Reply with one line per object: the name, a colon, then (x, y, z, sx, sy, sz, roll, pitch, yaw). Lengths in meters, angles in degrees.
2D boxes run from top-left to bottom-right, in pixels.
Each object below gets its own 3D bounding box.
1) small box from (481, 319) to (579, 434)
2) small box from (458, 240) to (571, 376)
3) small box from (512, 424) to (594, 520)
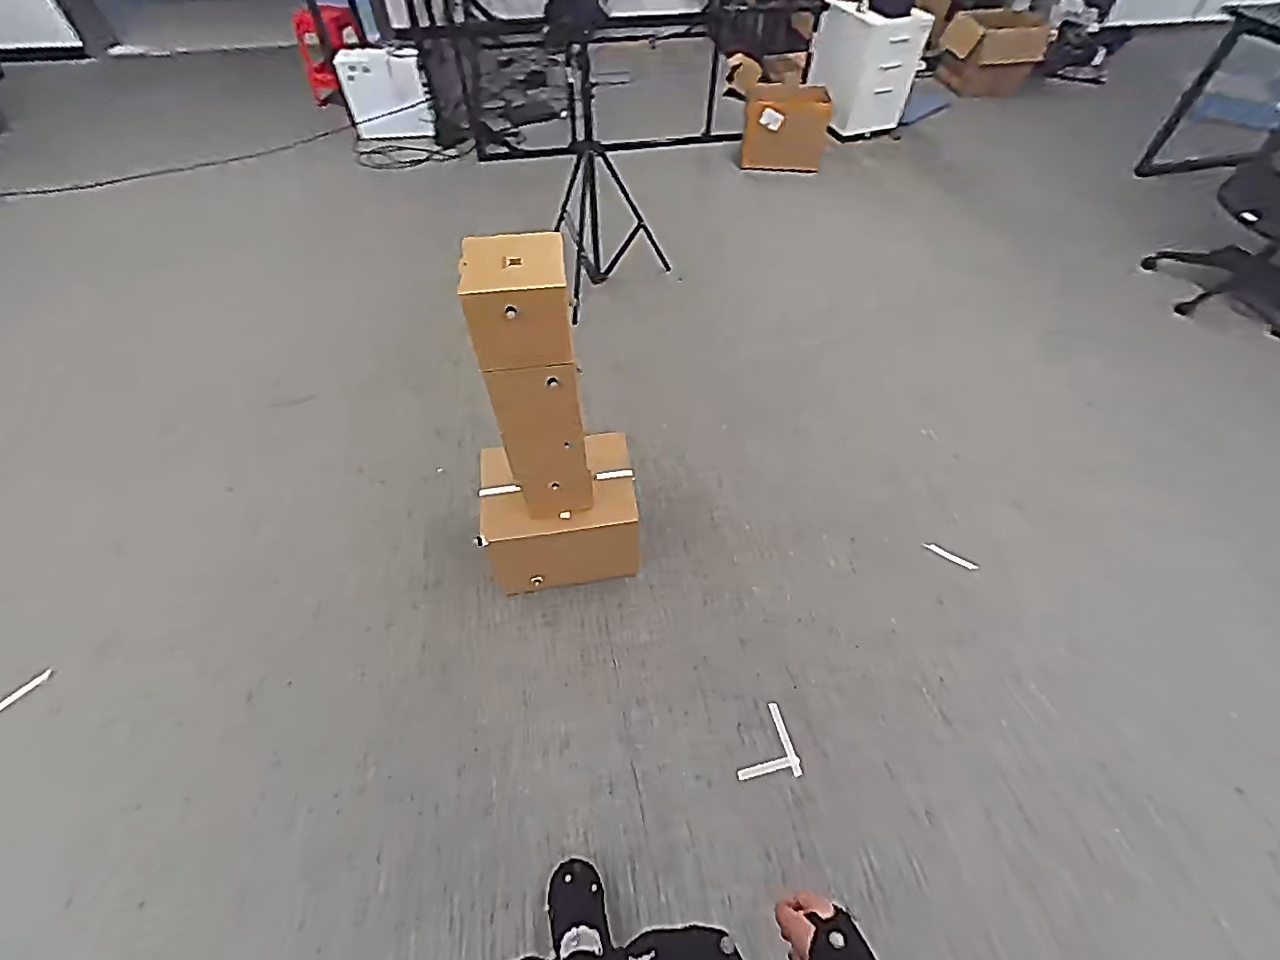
small box: (-0.220, -0.213, 1.115, 0.179, 0.176, 0.168, -7, 54, -5)
small box: (-0.219, -0.310, 0.985, 0.179, 0.176, 0.168, -7, 55, -5)
small box: (-0.219, -0.016, 1.378, 0.179, 0.176, 0.168, -9, 55, -8)
